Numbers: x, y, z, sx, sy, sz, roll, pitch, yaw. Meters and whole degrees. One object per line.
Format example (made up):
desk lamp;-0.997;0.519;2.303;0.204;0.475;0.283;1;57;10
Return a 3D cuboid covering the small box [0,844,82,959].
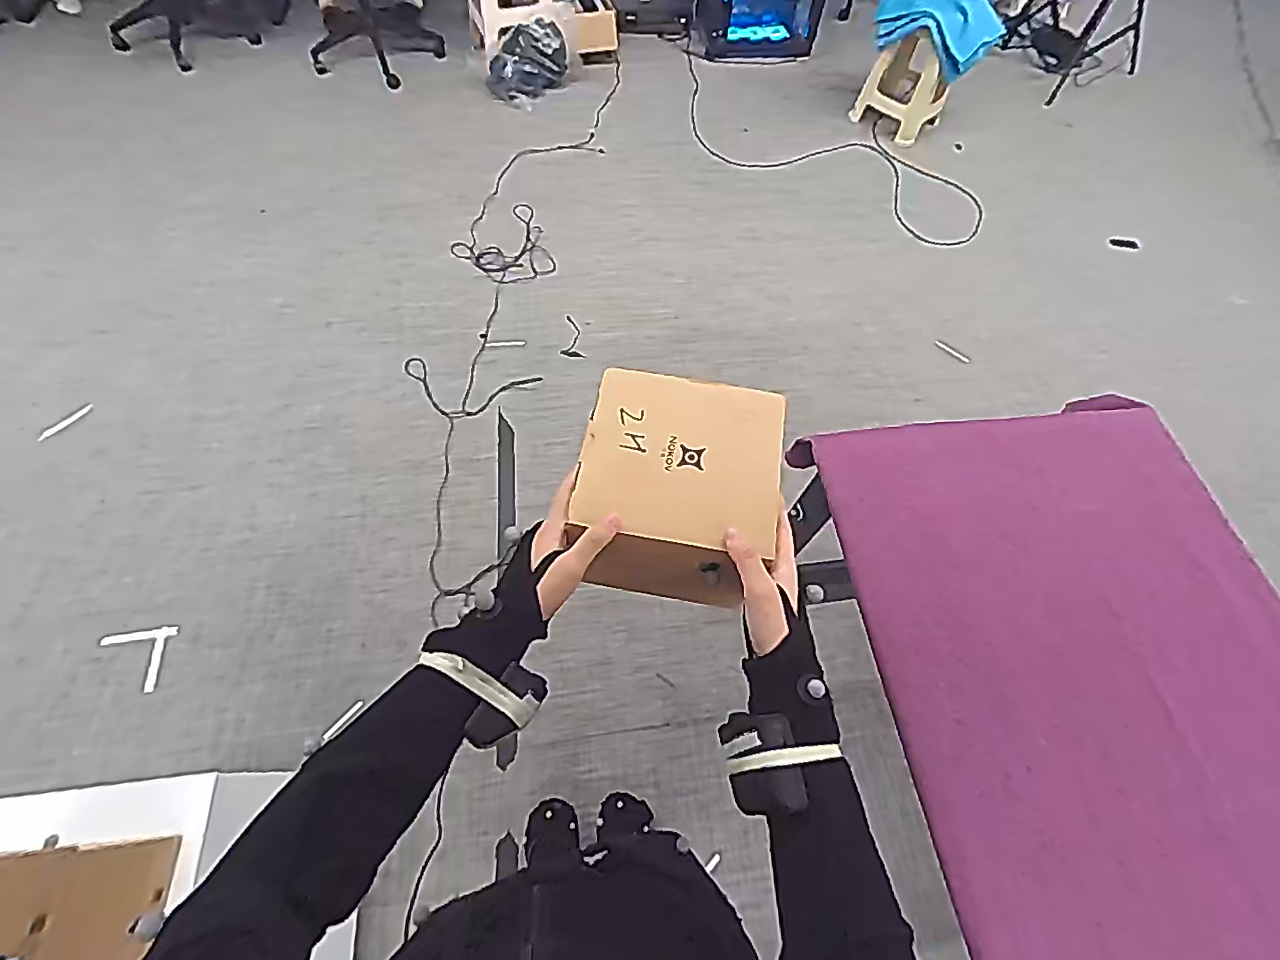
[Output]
small box;-0.646;0.411;0.442;0.179;0.176;0.168;-2;63;-5

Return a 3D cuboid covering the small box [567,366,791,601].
small box;0.038;0.014;0.541;0.179;0.176;0.168;9;63;4
